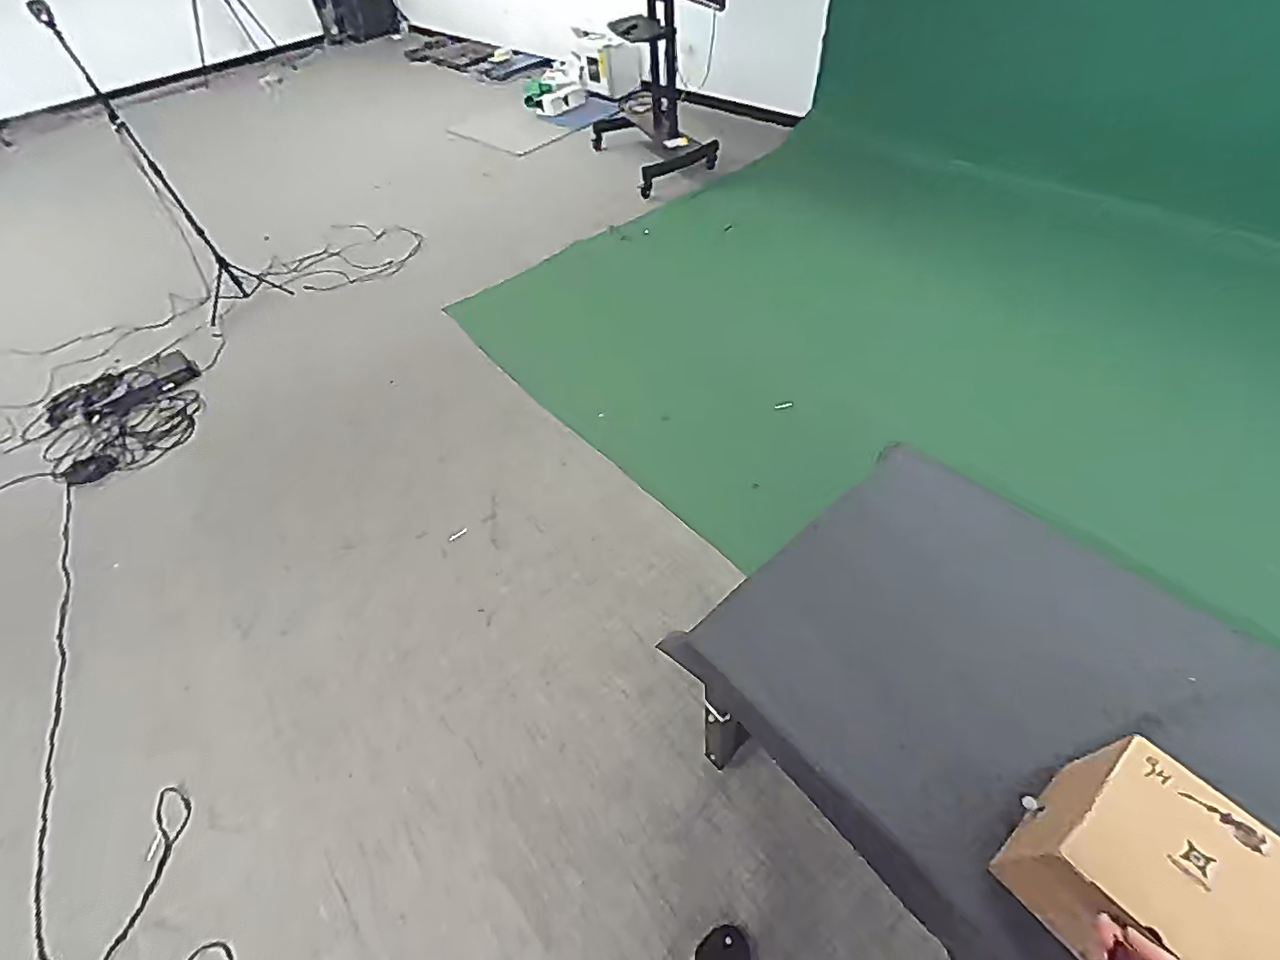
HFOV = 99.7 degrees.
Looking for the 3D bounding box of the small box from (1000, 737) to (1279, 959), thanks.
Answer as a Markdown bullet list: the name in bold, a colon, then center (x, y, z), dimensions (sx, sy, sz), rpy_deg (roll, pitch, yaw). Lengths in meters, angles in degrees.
- **small box**: center (0.523, 0.417, 0.570), dimensions (0.179, 0.176, 0.168), rpy_deg (-33, 54, -20)
